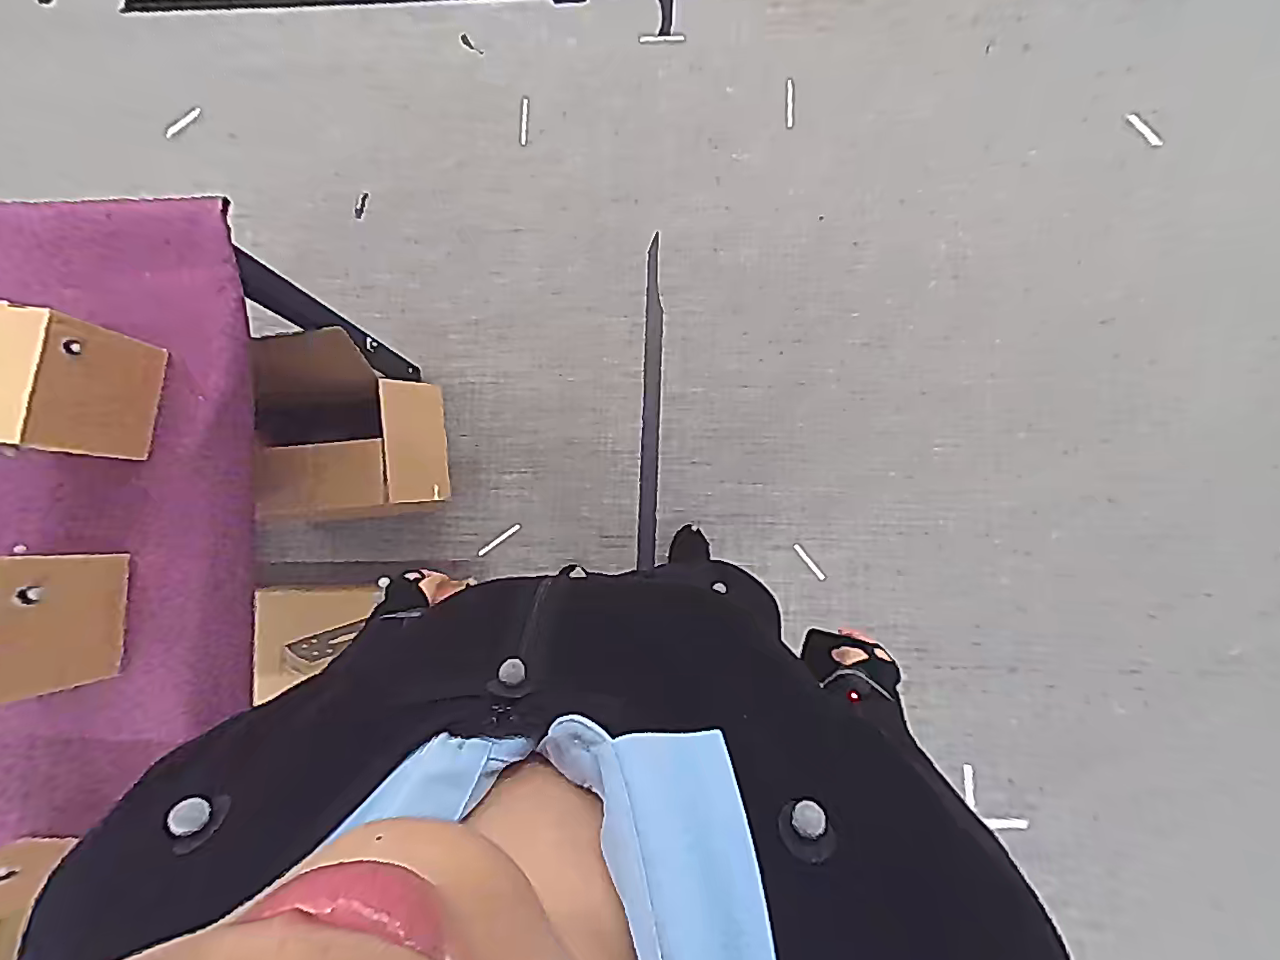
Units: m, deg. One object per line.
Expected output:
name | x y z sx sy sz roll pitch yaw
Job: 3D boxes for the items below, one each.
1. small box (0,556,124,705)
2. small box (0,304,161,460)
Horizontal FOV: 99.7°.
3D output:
small box | -0.836 0.189 0.708 0.168 0.176 0.179 -2 84 5
small box | -0.817 -0.127 0.742 0.168 0.176 0.179 6 84 3
